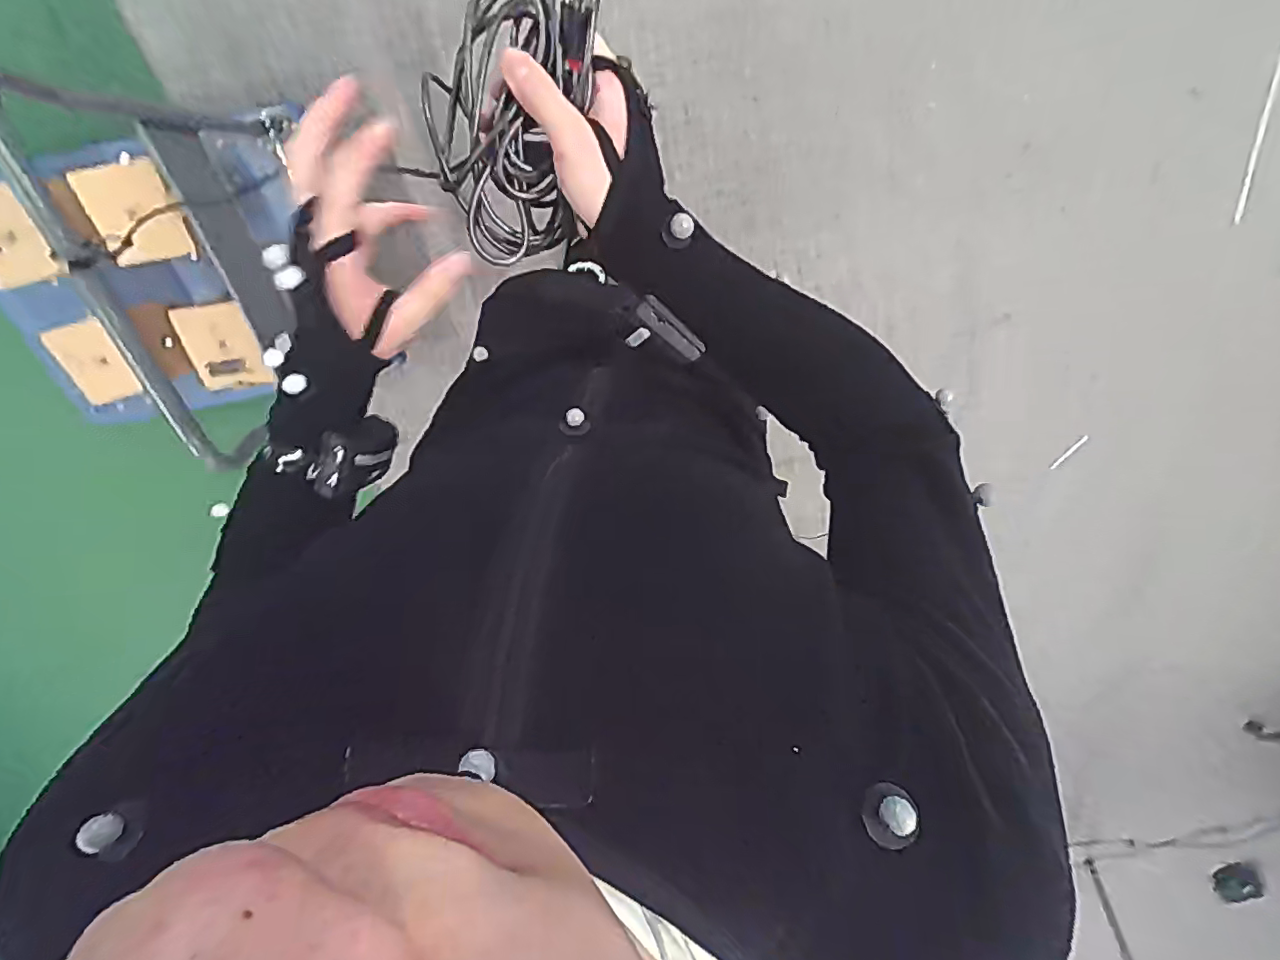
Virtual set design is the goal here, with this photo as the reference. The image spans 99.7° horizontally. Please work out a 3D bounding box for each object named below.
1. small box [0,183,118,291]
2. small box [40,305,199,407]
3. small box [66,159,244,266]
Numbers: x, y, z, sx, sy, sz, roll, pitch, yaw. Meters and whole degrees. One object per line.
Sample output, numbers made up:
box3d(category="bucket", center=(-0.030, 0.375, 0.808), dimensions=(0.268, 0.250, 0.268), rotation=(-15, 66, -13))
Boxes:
box3d(category="small box", center=(-1.243, -0.510, 1.129), dimensions=(0.179, 0.176, 0.168), rotation=(-13, 120, 4))
box3d(category="small box", center=(-1.183, -0.293, 1.253), dimensions=(0.179, 0.176, 0.168), rotation=(-14, 118, 6))
box3d(category="small box", center=(-0.981, -0.550, 1.115), dimensions=(0.179, 0.176, 0.168), rotation=(-10, 119, 3))
